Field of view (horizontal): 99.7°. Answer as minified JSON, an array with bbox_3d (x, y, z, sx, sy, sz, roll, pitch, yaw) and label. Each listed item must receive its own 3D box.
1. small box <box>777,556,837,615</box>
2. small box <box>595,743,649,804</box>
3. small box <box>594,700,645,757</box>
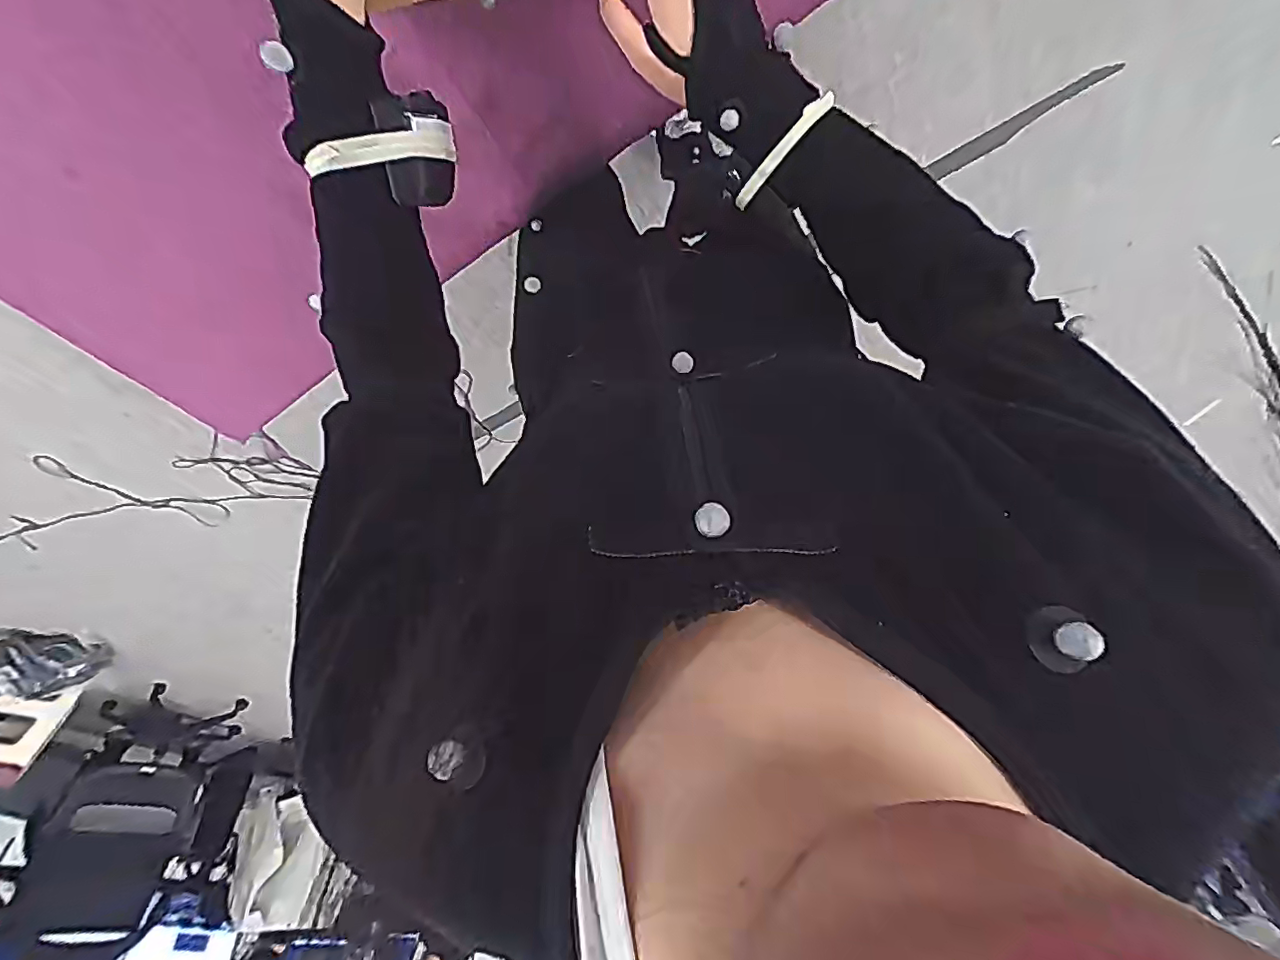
[{"bbox_3d":[0.733,0.463,2.381,0.168,0.176,0.179,-36,128,24],"label":"small box"},{"bbox_3d":[-0.077,1.120,2.064,0.168,0.176,0.179,9,134,-15],"label":"small box"},{"bbox_3d":[-0.087,1.006,2.180,0.168,0.176,0.179,9,134,-16],"label":"small box"}]
